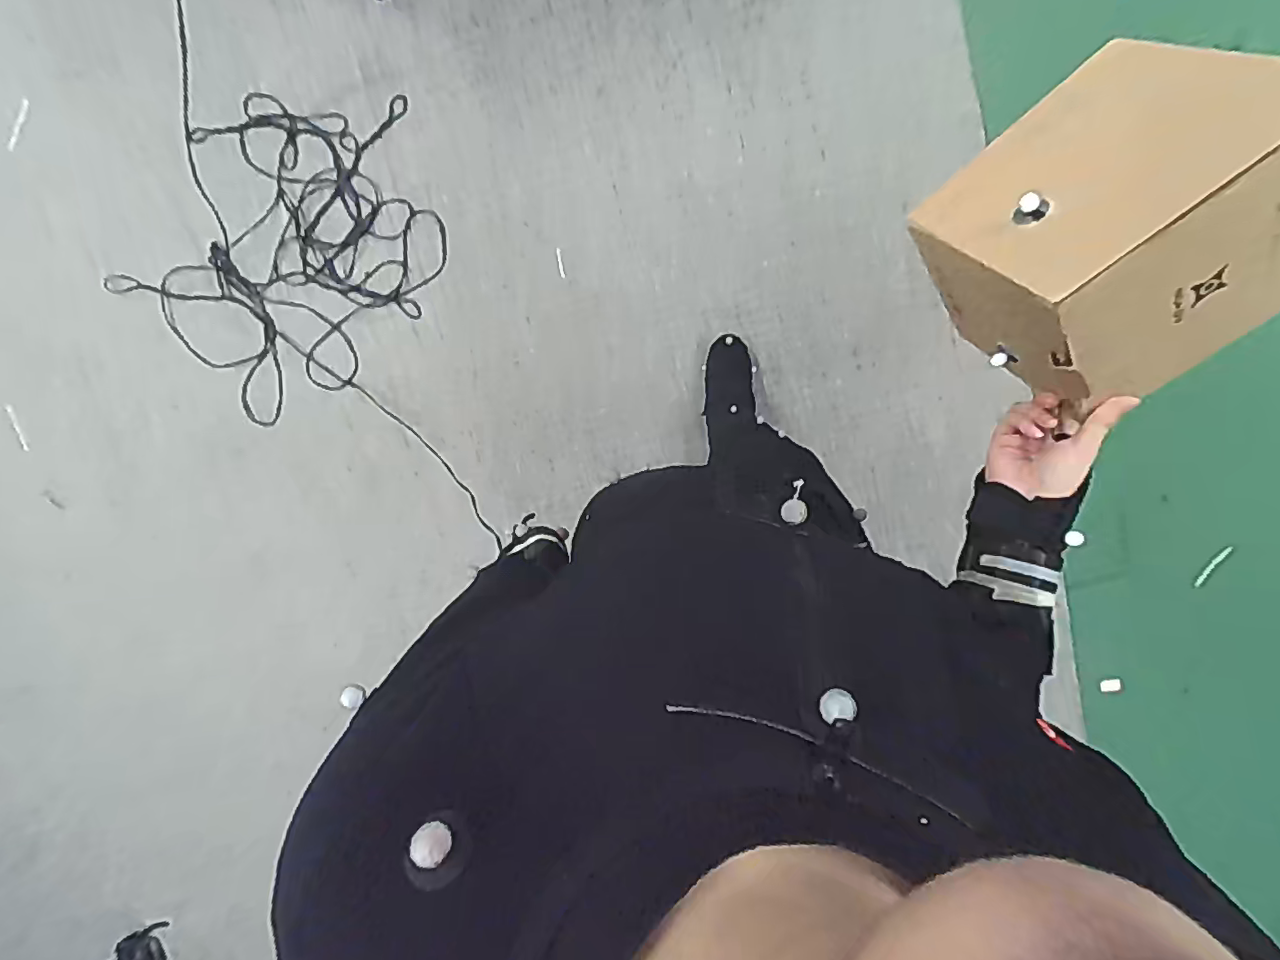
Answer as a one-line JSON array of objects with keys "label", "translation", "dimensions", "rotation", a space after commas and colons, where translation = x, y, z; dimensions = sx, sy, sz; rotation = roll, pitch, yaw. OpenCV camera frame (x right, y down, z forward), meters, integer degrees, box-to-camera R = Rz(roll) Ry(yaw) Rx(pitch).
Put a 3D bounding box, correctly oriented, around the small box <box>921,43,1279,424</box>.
[{"label": "small box", "translation": [0.350, -0.183, 0.414], "dimensions": [0.179, 0.176, 0.168], "rotation": [-41, 132, 19]}]
